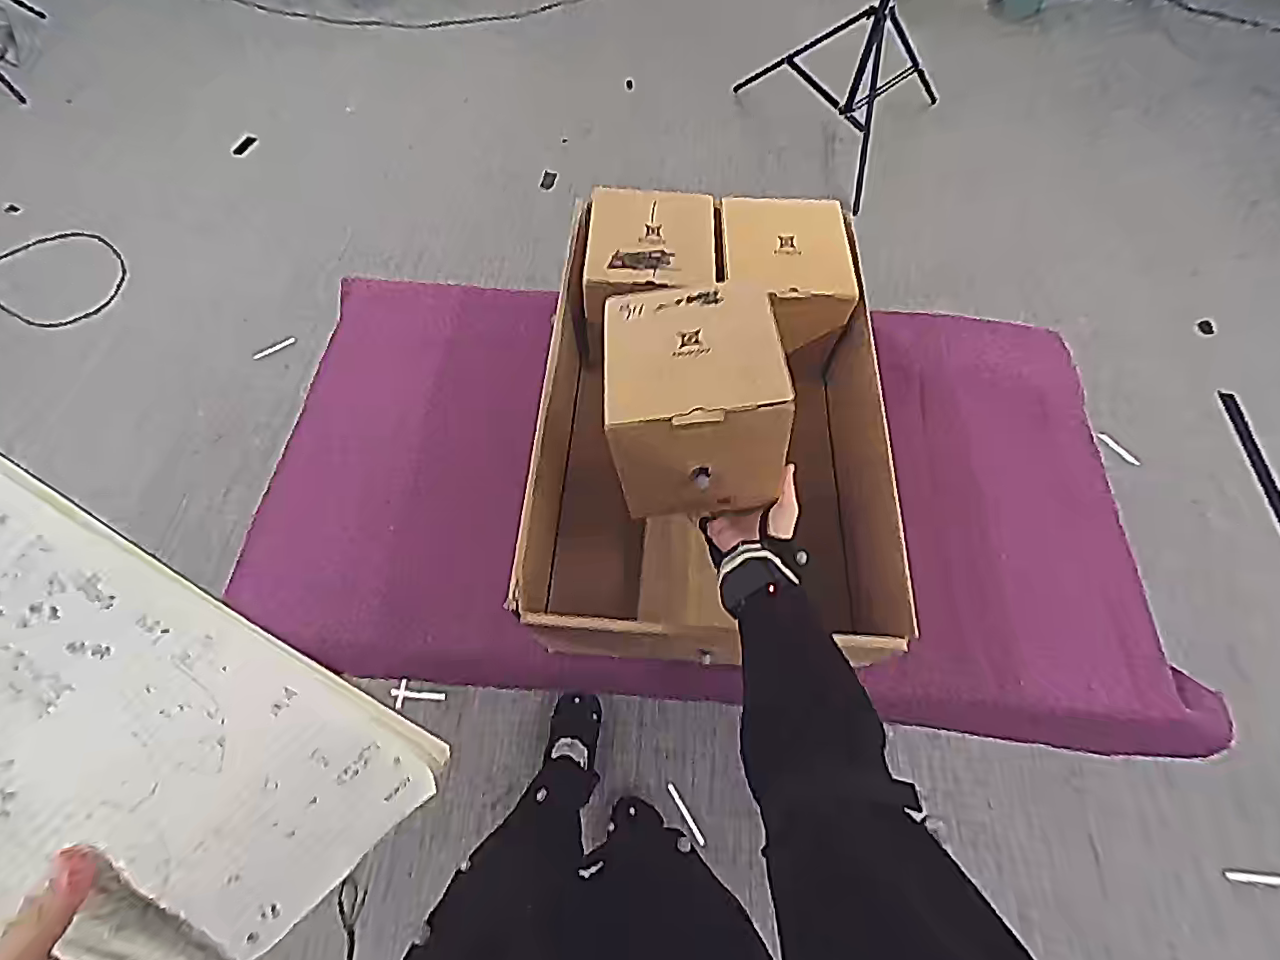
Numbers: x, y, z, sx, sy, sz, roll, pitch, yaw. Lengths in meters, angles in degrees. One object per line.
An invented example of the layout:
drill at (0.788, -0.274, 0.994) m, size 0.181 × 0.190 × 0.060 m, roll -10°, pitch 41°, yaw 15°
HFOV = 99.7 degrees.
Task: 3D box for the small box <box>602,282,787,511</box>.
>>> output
small box at (0.058, -0.078, 0.579) m, size 0.168 × 0.176 × 0.179 m, roll -6°, pitch 55°, yaw 6°
